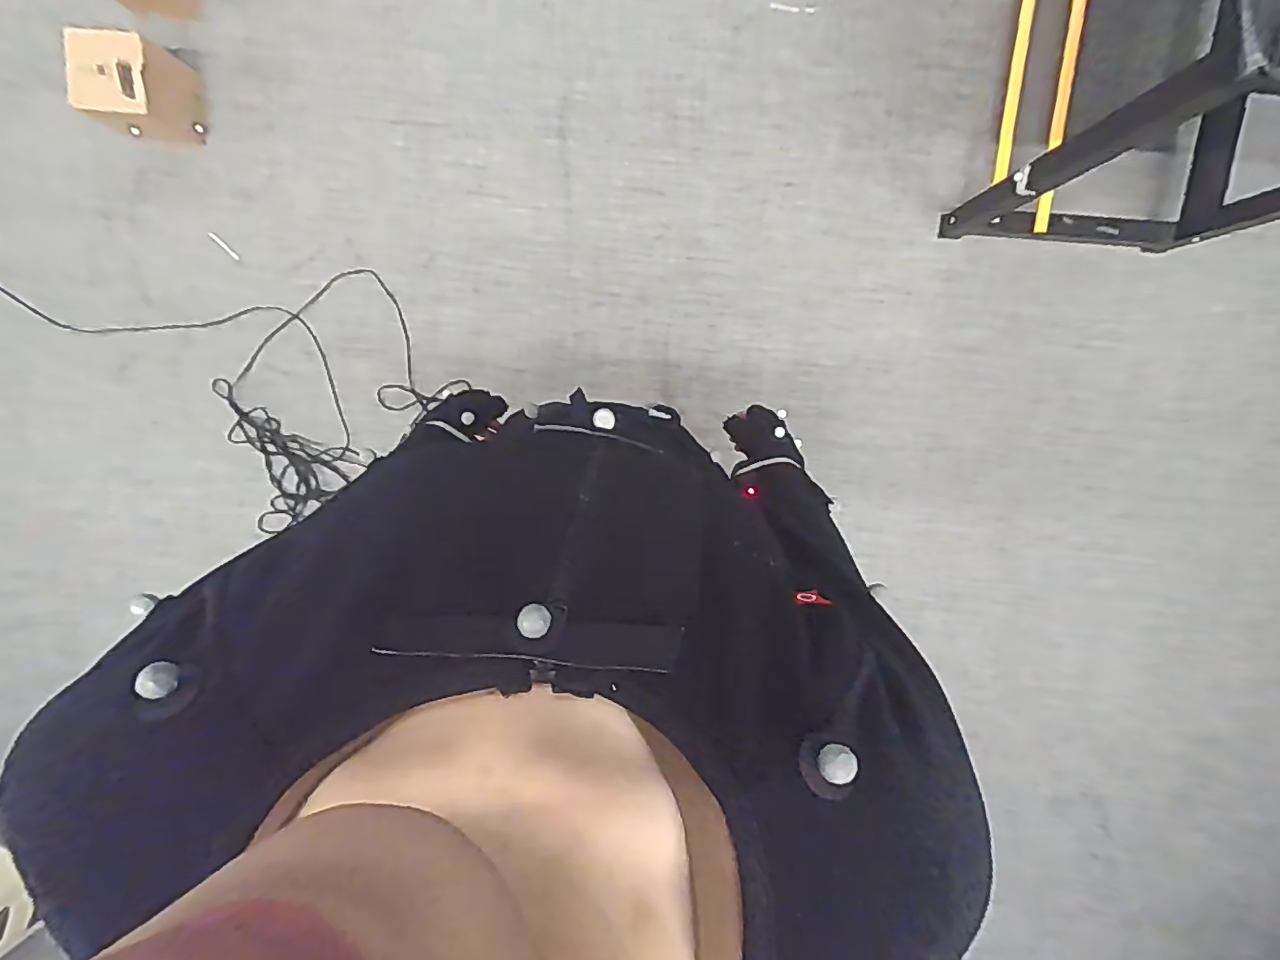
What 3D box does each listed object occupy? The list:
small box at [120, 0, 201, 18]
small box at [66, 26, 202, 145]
[{"bbox_3d":[-1.155,-1.206,1.235,0.179,0.176,0.168,6,99,-1],"label":"small box"},{"bbox_3d":[-1.180,-0.920,1.277,0.179,0.176,0.168,5,99,1],"label":"small box"}]
